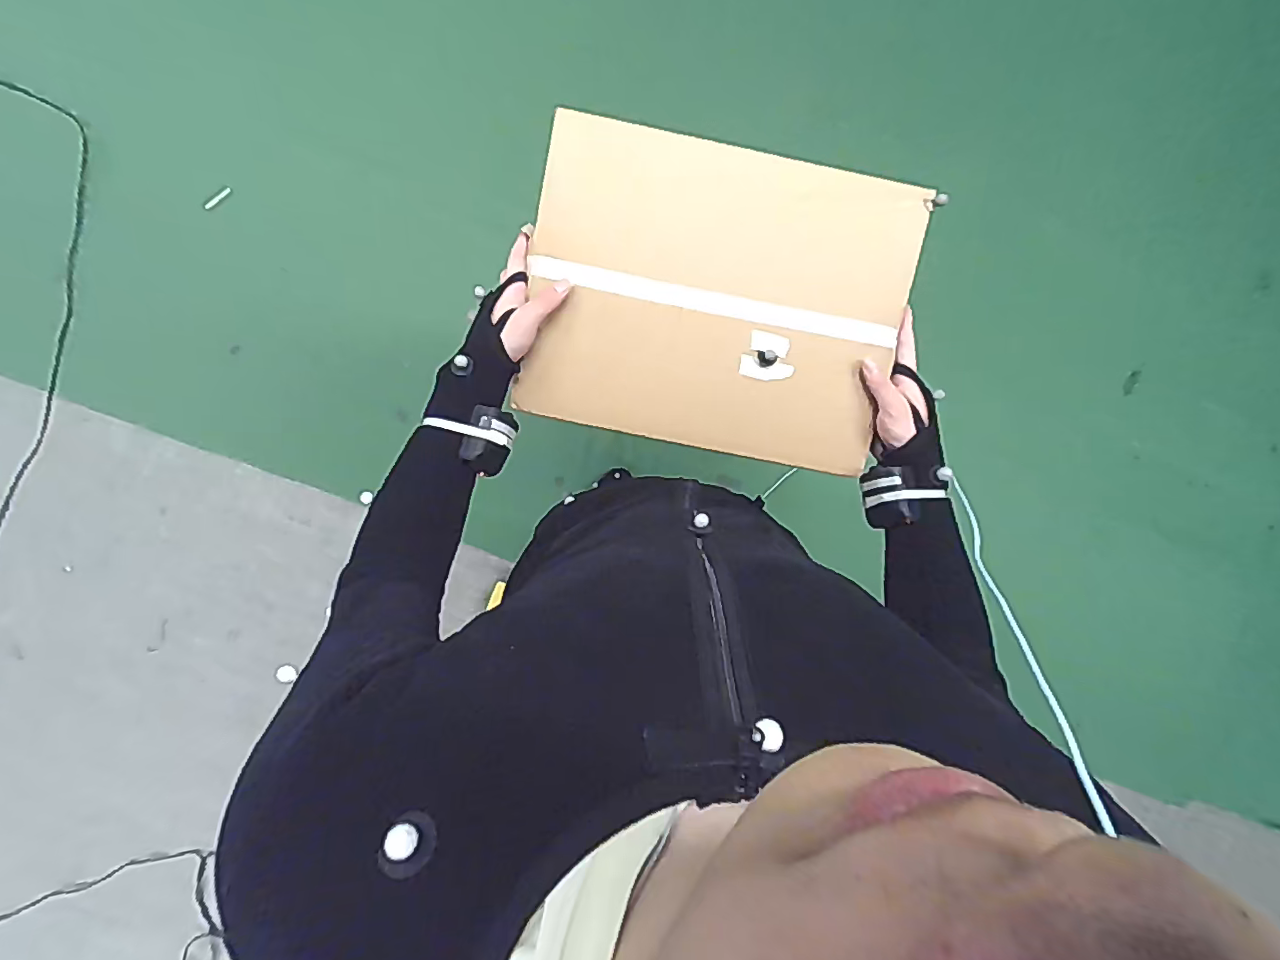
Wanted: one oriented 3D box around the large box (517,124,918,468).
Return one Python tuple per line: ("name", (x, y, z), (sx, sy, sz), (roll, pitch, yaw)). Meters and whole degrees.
("large box", (0.077, -0.217, 0.744), (0.408, 0.320, 0.320), (11, 99, -2))
